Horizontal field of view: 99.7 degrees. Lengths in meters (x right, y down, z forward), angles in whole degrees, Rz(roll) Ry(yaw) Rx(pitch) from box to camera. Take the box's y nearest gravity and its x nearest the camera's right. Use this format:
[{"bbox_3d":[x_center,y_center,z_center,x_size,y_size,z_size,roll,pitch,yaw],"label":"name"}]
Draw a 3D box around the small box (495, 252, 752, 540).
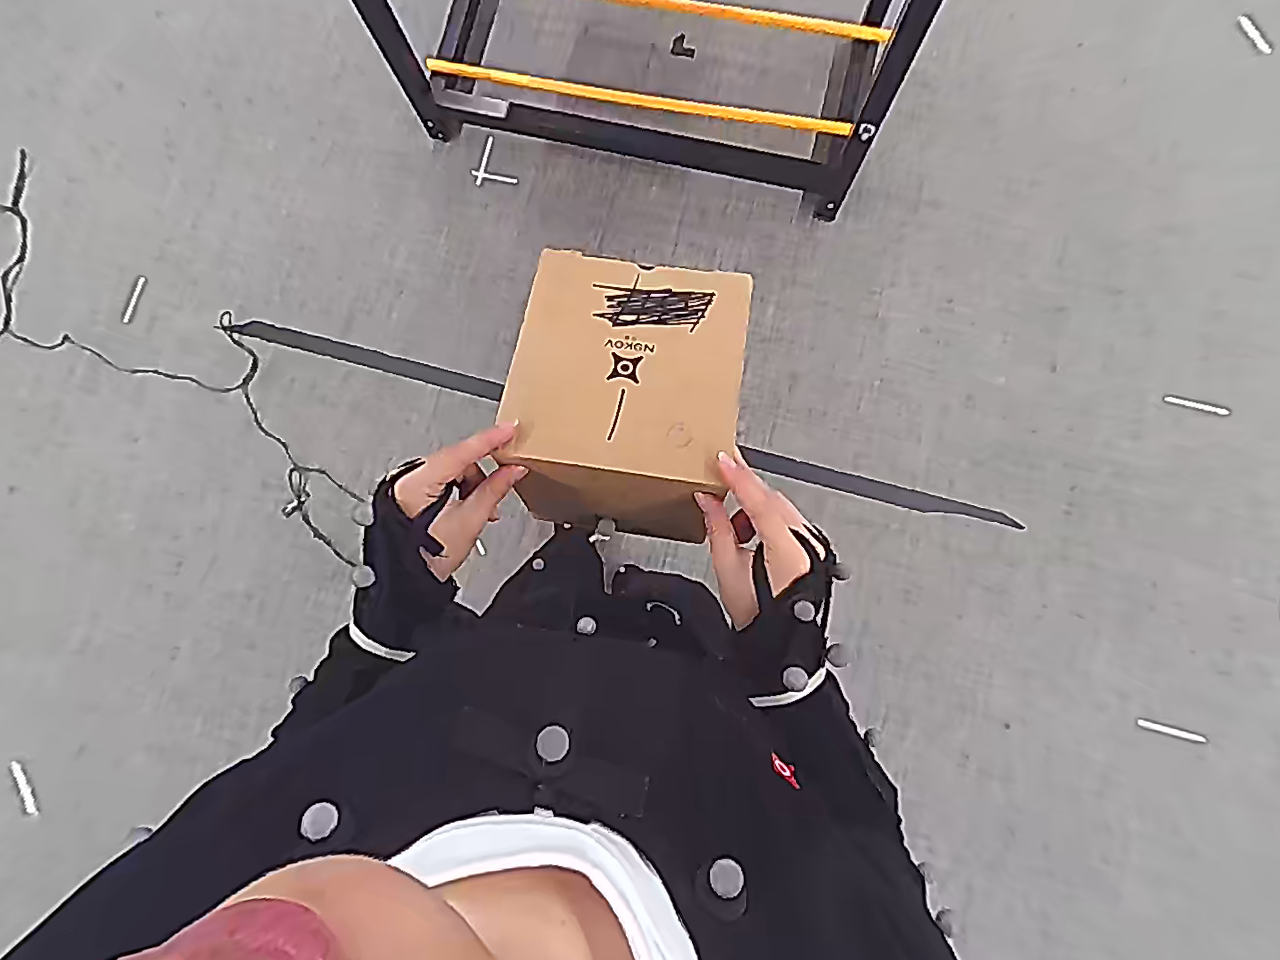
[{"bbox_3d":[-0.007,-0.061,0.468,0.168,0.176,0.179,8,71,3],"label":"small box"}]
